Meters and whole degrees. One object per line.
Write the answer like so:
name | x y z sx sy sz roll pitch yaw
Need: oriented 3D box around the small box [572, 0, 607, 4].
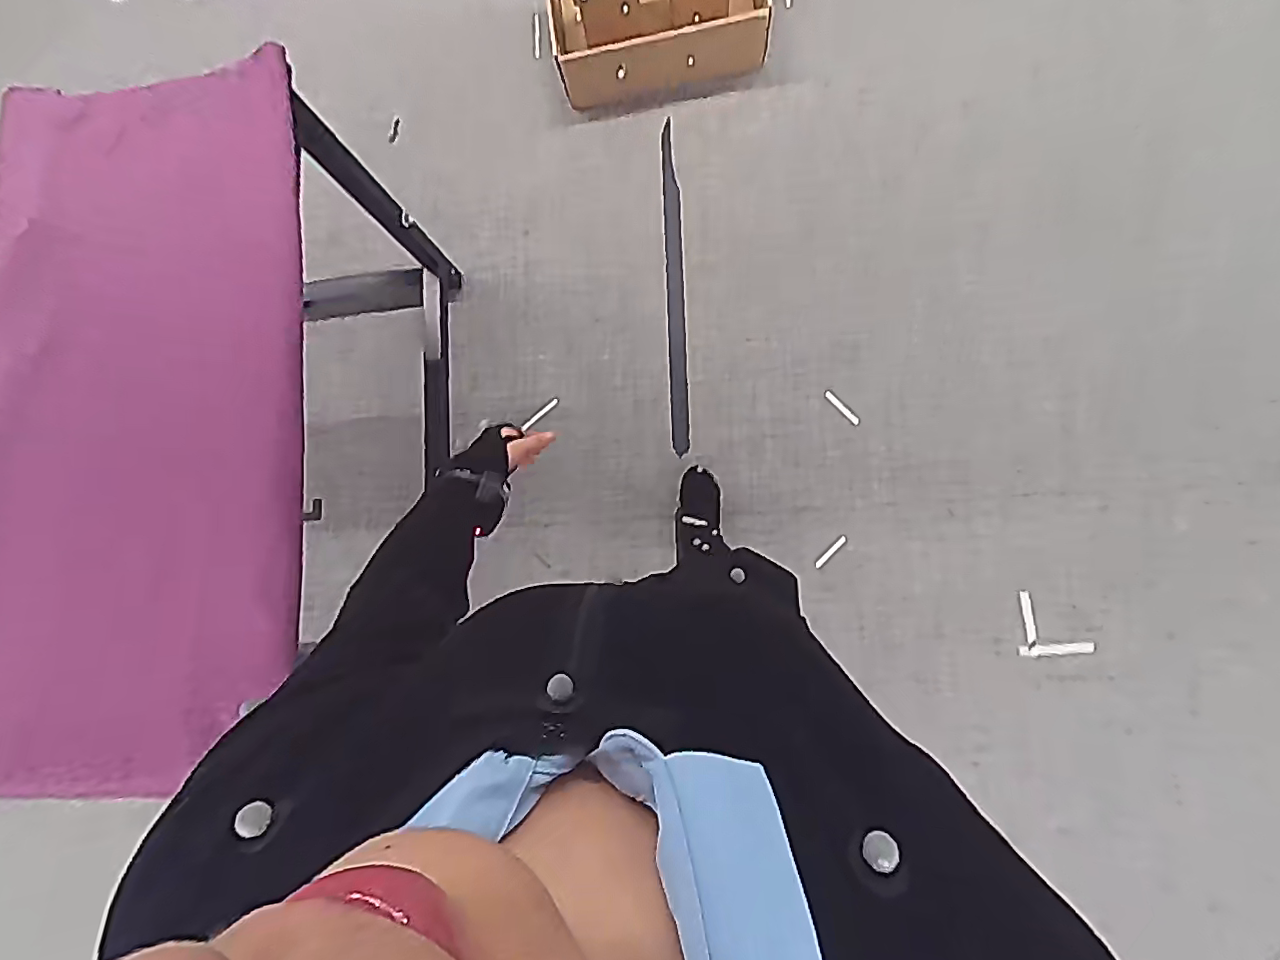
small box | -0.127 -1.417 1.436 0.168 0.176 0.179 -10 80 4

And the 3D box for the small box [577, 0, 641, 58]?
small box | -0.093 -1.403 1.597 0.179 0.176 0.168 -10 80 4

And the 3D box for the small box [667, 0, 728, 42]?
small box | 0.162 -1.440 1.575 0.168 0.176 0.179 -8 81 7
